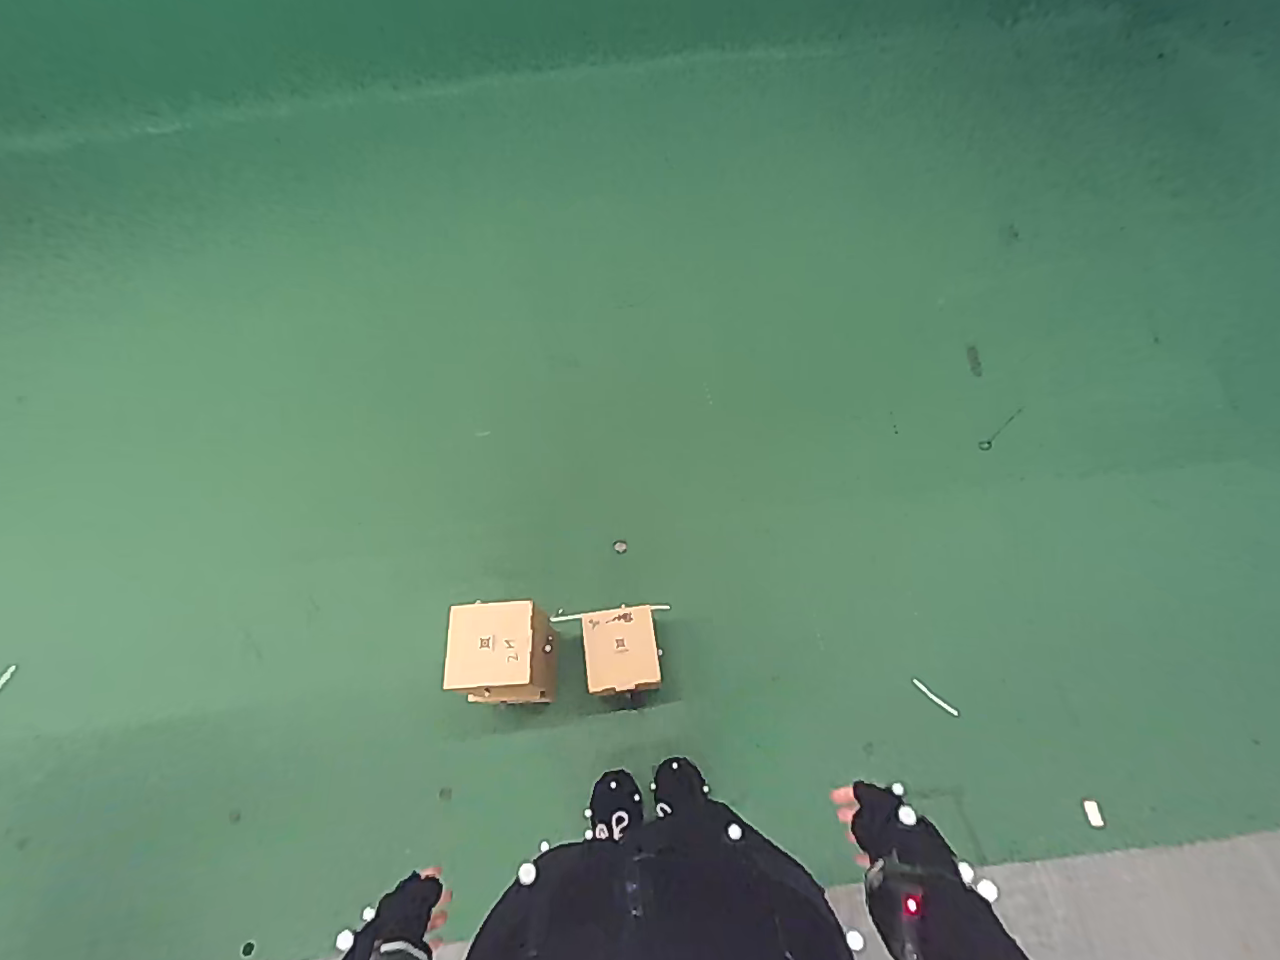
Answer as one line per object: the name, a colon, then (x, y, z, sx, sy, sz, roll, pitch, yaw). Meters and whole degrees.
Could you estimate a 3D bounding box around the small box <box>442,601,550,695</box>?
small box: (-0.301, 0.366, 1.163, 0.179, 0.176, 0.168, -4, 64, 2)

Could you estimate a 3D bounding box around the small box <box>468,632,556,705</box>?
small box: (-0.301, 0.447, 1.306, 0.168, 0.176, 0.179, -3, 64, 2)
